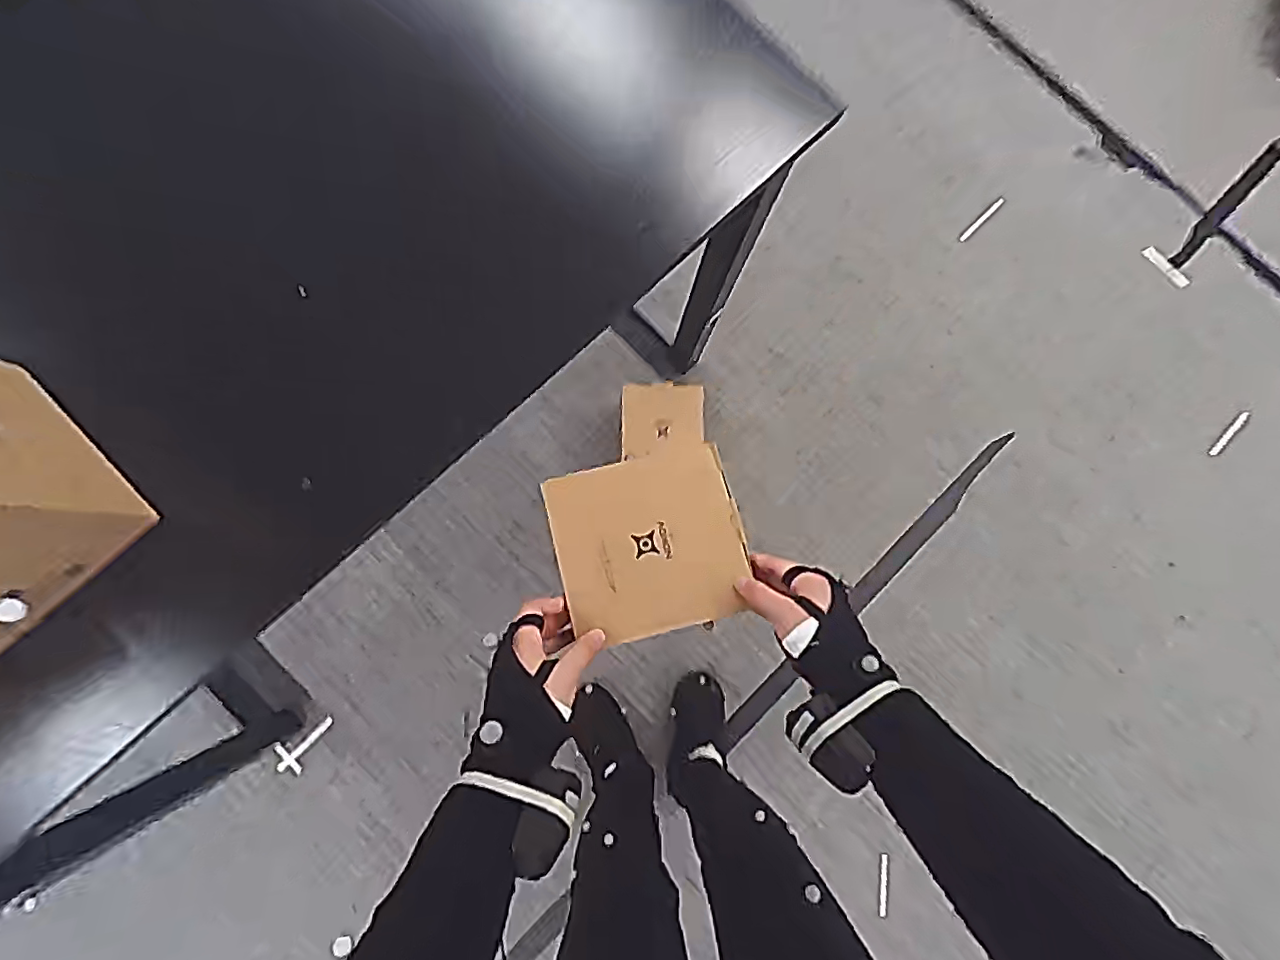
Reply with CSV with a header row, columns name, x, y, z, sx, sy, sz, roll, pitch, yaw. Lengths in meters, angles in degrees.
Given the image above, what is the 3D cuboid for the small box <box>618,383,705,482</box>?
name,x,y,z,sx,sy,sz,roll,pitch,yaw
small box,0.039,-0.094,1.138,0.168,0.176,0.179,0,83,-4

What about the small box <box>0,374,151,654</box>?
name,x,y,z,sx,sy,sz,roll,pitch,yaw
small box,-0.500,0.016,0.351,0.168,0.176,0.179,-44,88,-8
